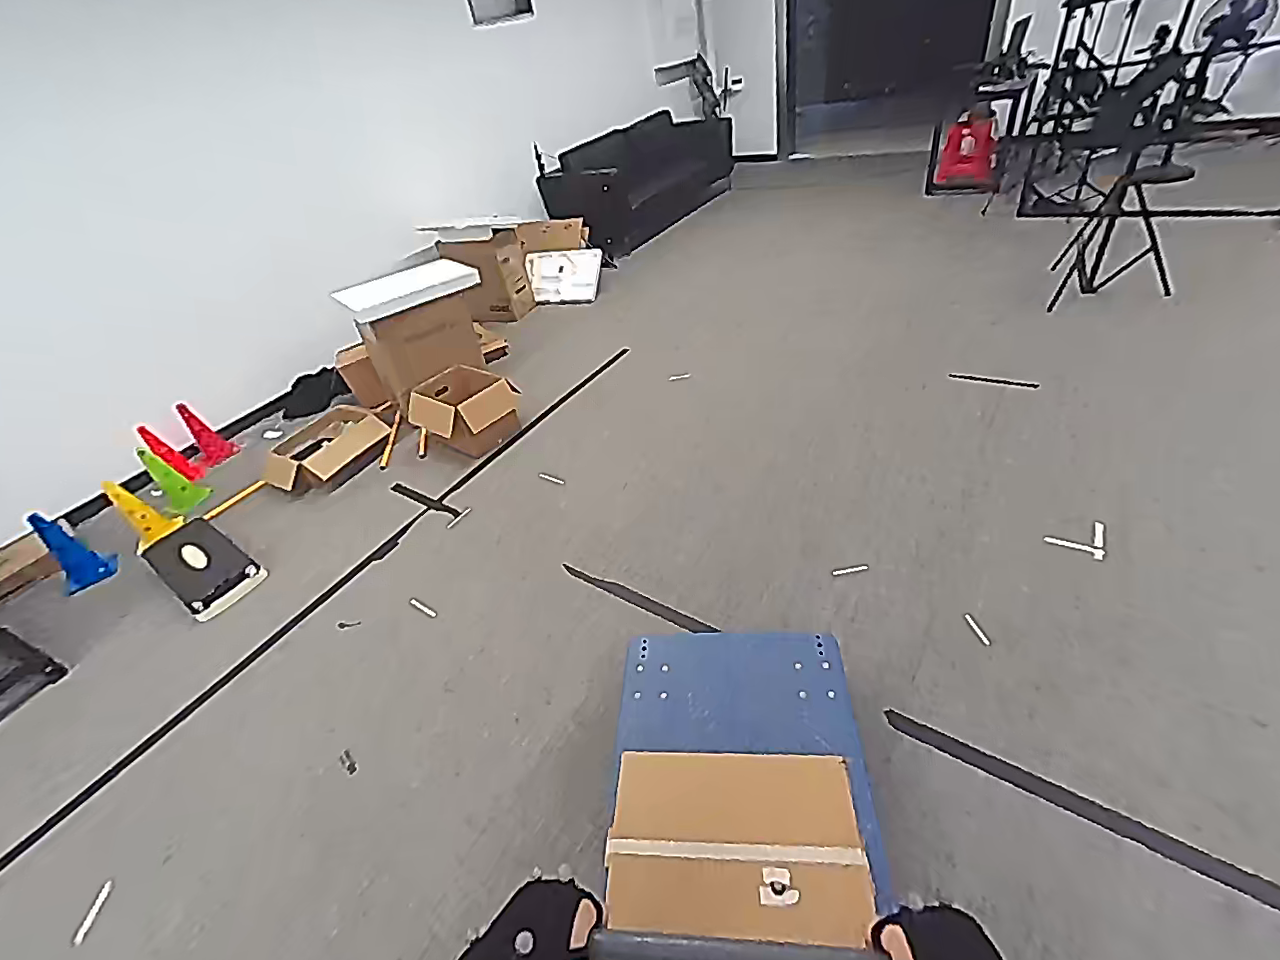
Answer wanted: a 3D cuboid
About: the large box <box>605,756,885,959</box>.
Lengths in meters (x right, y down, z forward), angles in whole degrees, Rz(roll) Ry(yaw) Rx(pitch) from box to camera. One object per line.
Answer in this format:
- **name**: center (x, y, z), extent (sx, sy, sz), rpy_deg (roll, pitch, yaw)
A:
- **large box**: center (0.172, 0.719, 0.964), extent (0.408, 0.320, 0.320), rpy_deg (-4, 40, 9)
